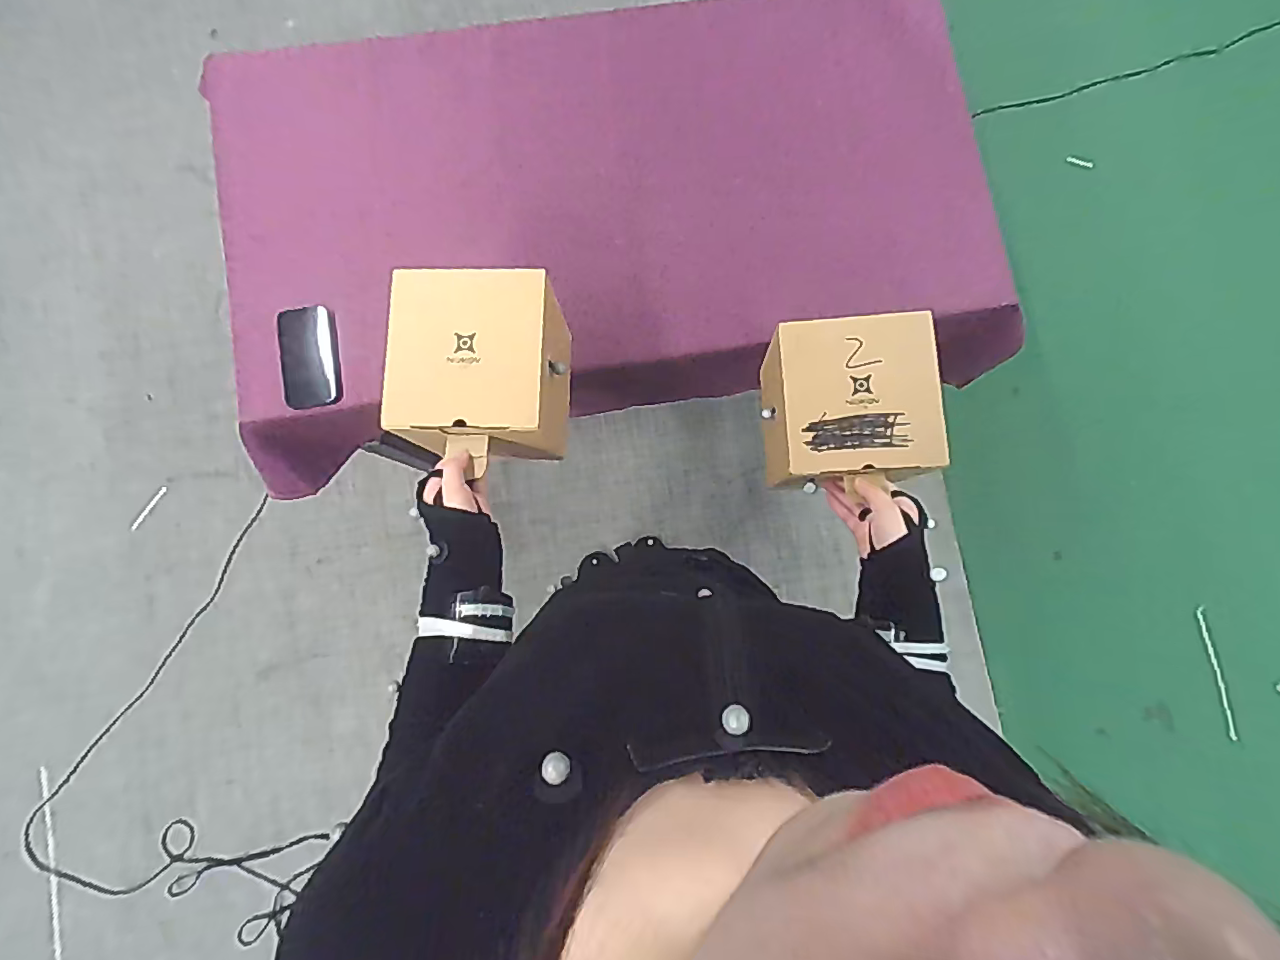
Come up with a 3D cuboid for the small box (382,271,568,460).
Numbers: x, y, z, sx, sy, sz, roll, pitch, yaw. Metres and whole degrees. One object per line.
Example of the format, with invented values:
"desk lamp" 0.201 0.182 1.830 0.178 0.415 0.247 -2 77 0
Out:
"small box" -0.182 -0.126 0.648 0.168 0.176 0.179 1 83 2
